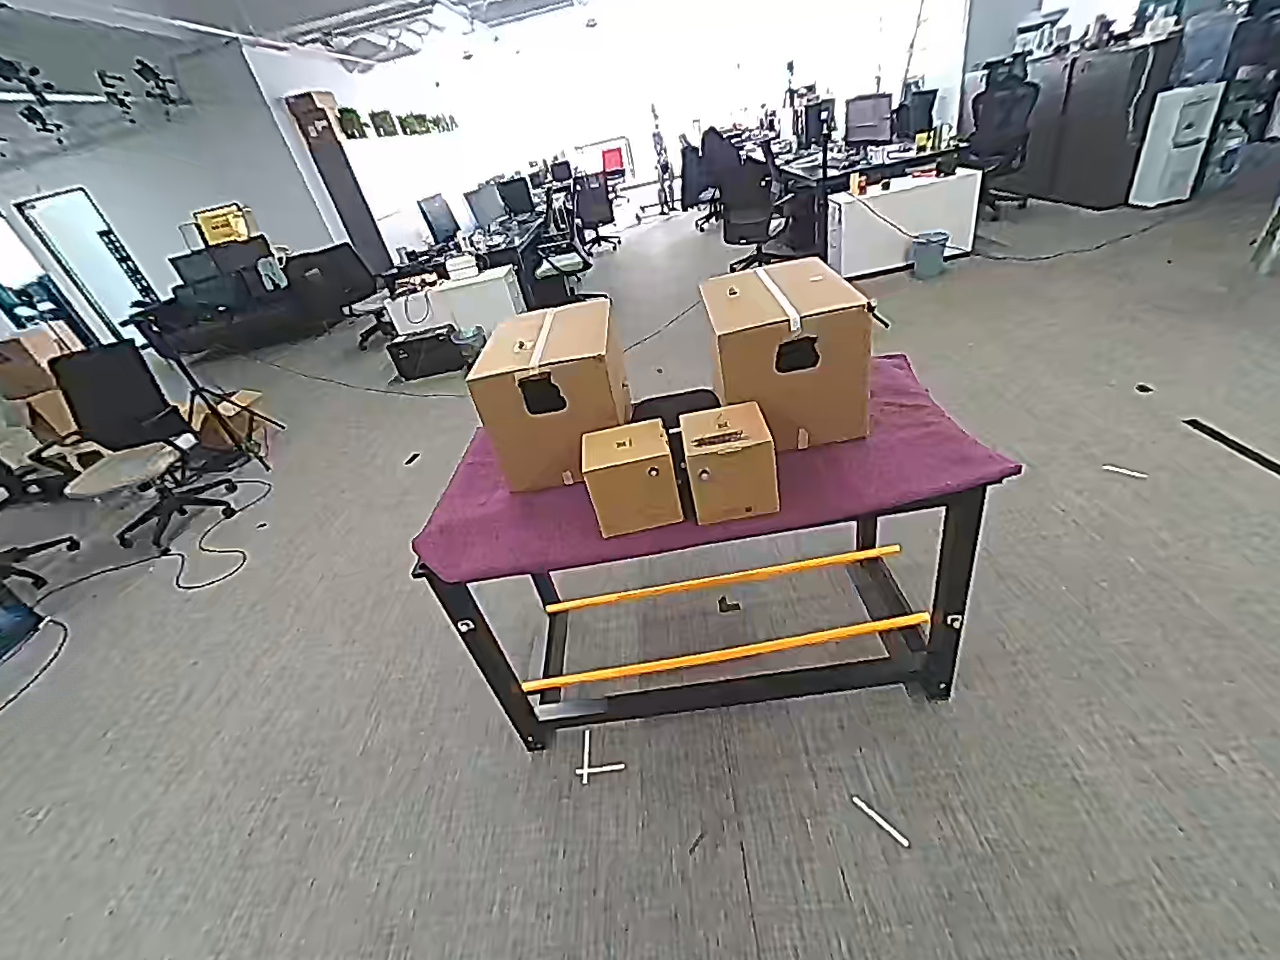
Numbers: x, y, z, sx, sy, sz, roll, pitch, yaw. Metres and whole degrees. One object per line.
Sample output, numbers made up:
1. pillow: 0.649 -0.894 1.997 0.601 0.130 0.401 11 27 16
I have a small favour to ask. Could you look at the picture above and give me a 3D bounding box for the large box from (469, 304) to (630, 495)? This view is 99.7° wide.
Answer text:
1. large box: -0.206 -0.219 1.402 0.320 0.320 0.408 -10 36 5
